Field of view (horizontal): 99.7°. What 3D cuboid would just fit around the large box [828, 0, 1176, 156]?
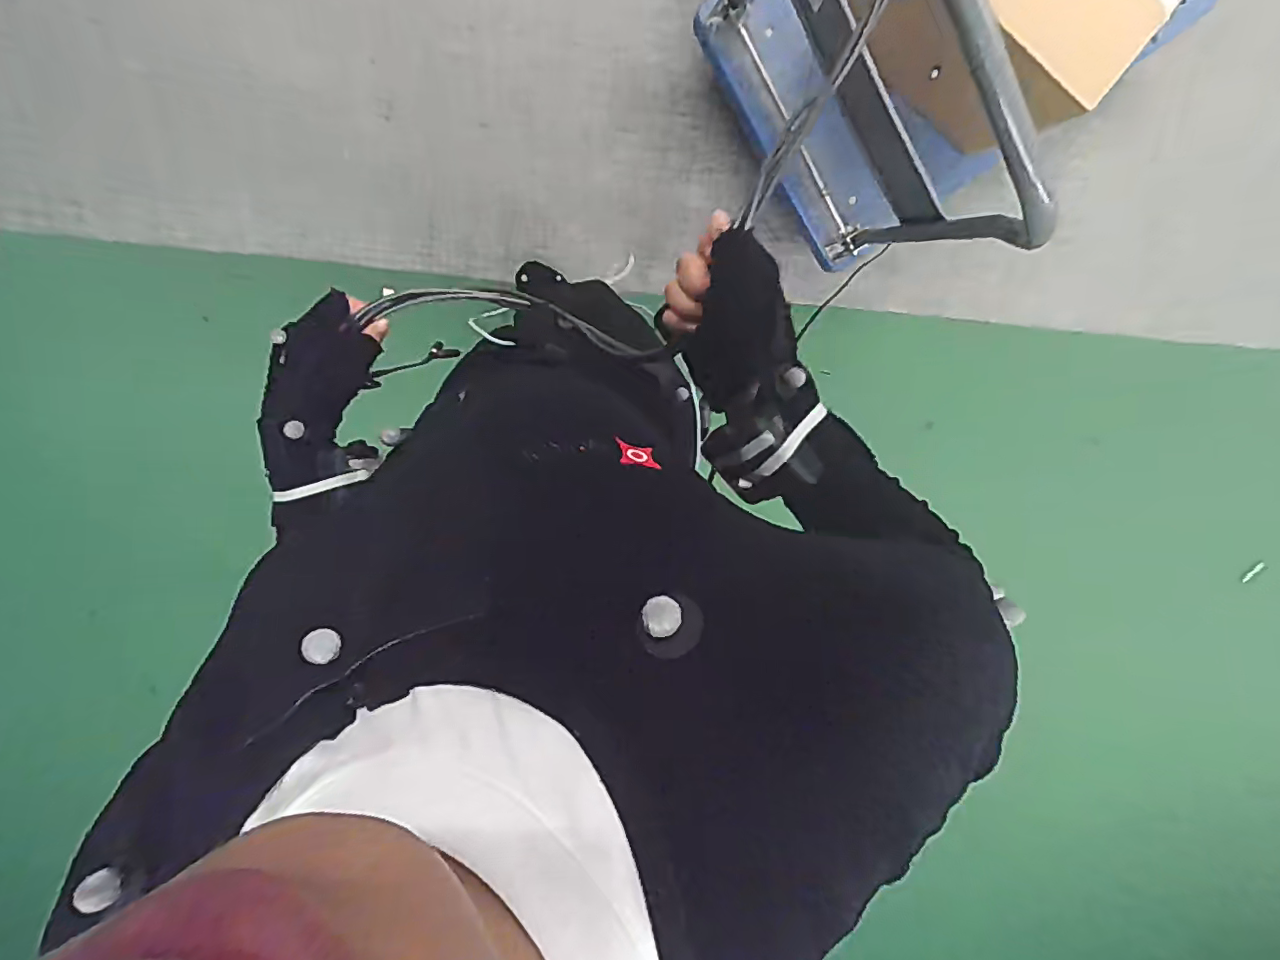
[{"bbox_3d":[0.611,-0.837,0.912,0.408,0.320,0.320,31,105,-12],"label":"large box"}]
